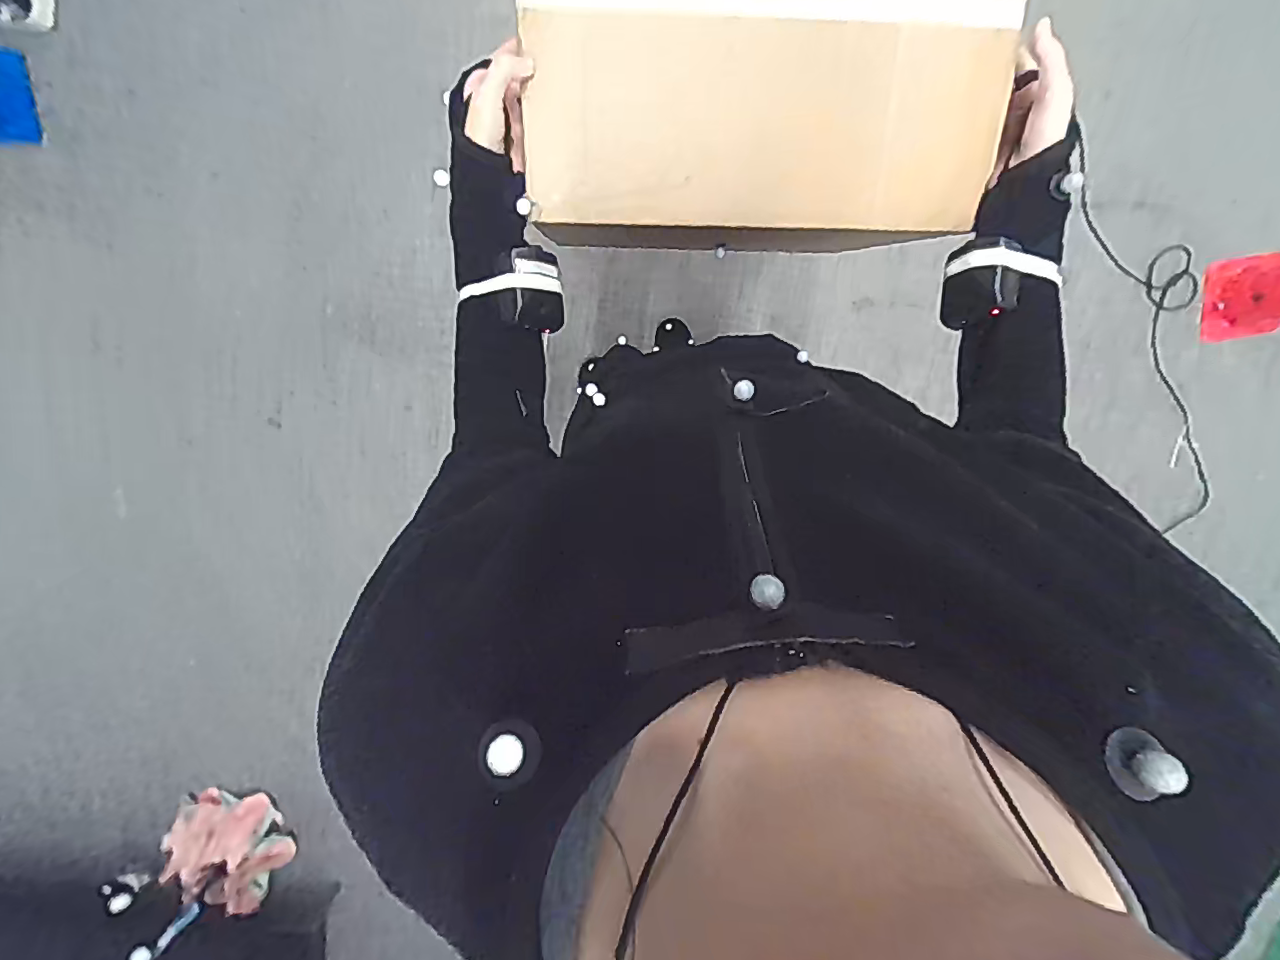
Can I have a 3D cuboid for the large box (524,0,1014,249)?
[{"bbox_3d":[0.100,-0.421,0.579,0.408,0.320,0.320,0,109,-3],"label":"large box"}]
